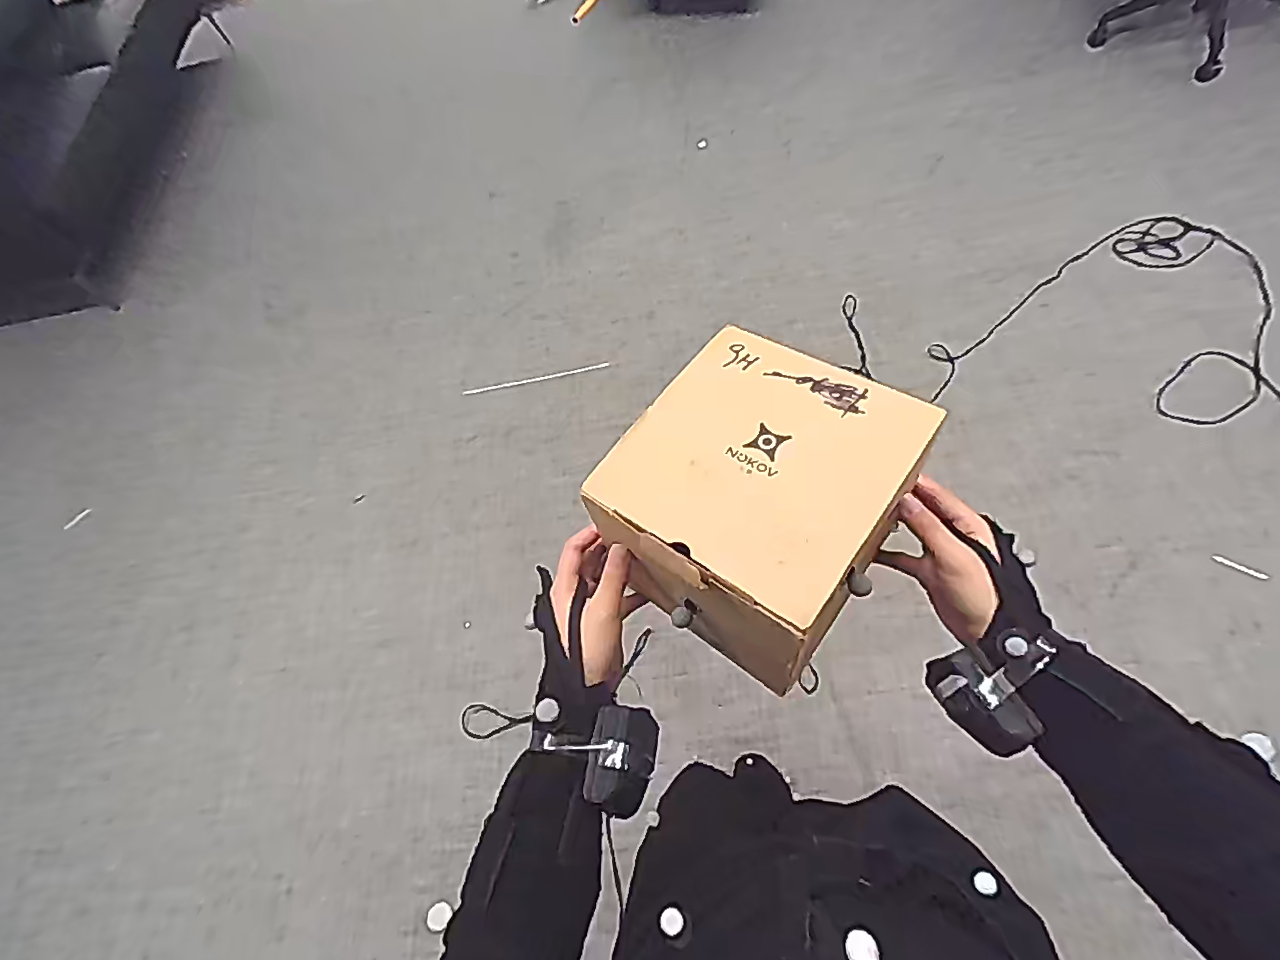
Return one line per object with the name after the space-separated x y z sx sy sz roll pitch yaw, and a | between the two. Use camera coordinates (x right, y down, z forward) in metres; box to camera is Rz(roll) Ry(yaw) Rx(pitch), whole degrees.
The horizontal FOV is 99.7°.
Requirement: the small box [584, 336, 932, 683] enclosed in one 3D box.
0.089 0.029 0.420 0.168 0.176 0.179 31 69 27 | small box
